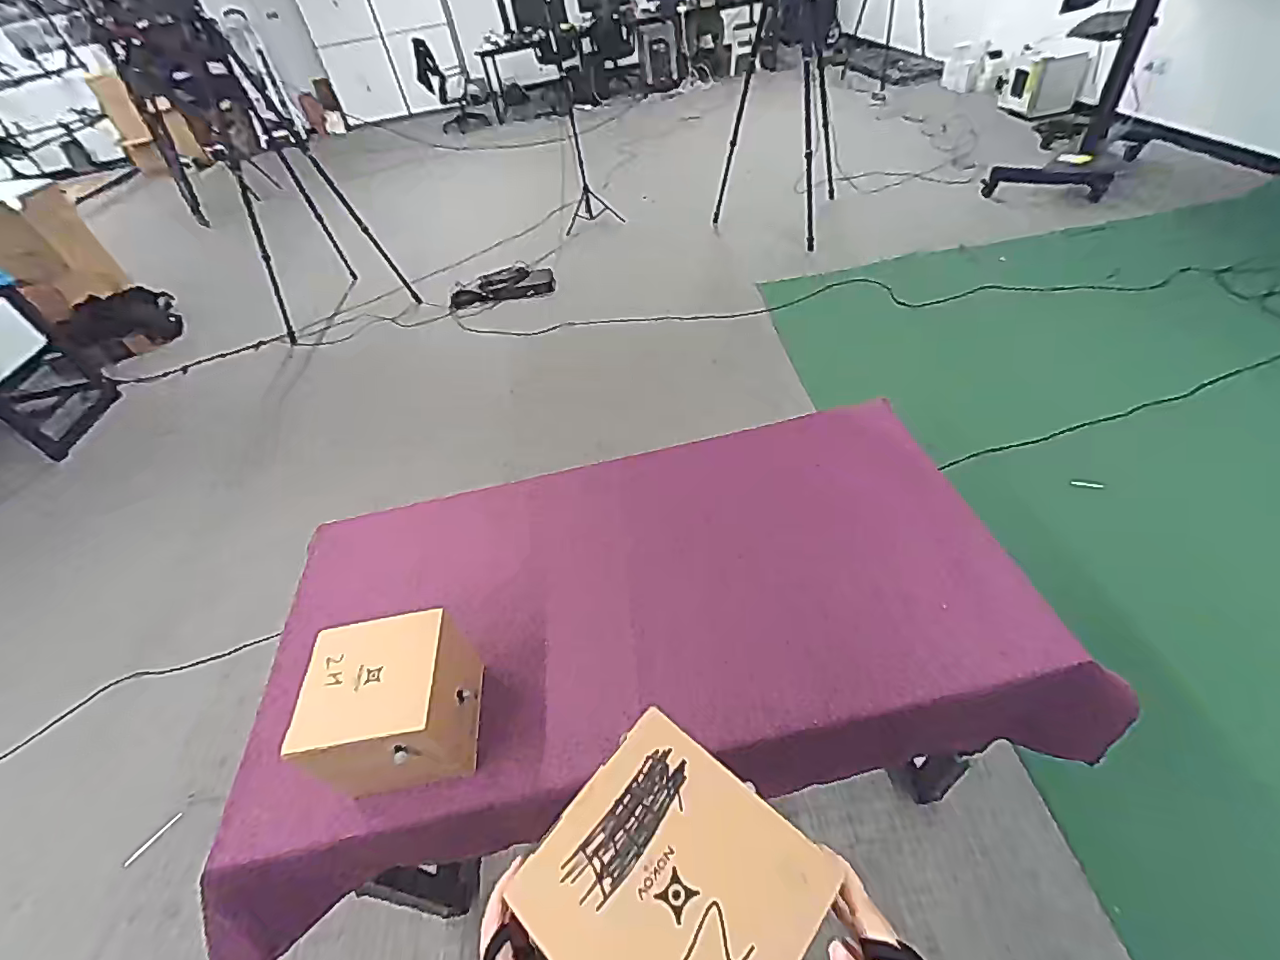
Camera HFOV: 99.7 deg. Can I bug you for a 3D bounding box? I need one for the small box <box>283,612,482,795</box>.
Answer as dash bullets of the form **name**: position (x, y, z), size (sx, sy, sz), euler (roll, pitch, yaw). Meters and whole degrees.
- **small box**: position (-0.331, 0.308, 0.742), size (0.179, 0.176, 0.168), euler (-11, 44, 1)
